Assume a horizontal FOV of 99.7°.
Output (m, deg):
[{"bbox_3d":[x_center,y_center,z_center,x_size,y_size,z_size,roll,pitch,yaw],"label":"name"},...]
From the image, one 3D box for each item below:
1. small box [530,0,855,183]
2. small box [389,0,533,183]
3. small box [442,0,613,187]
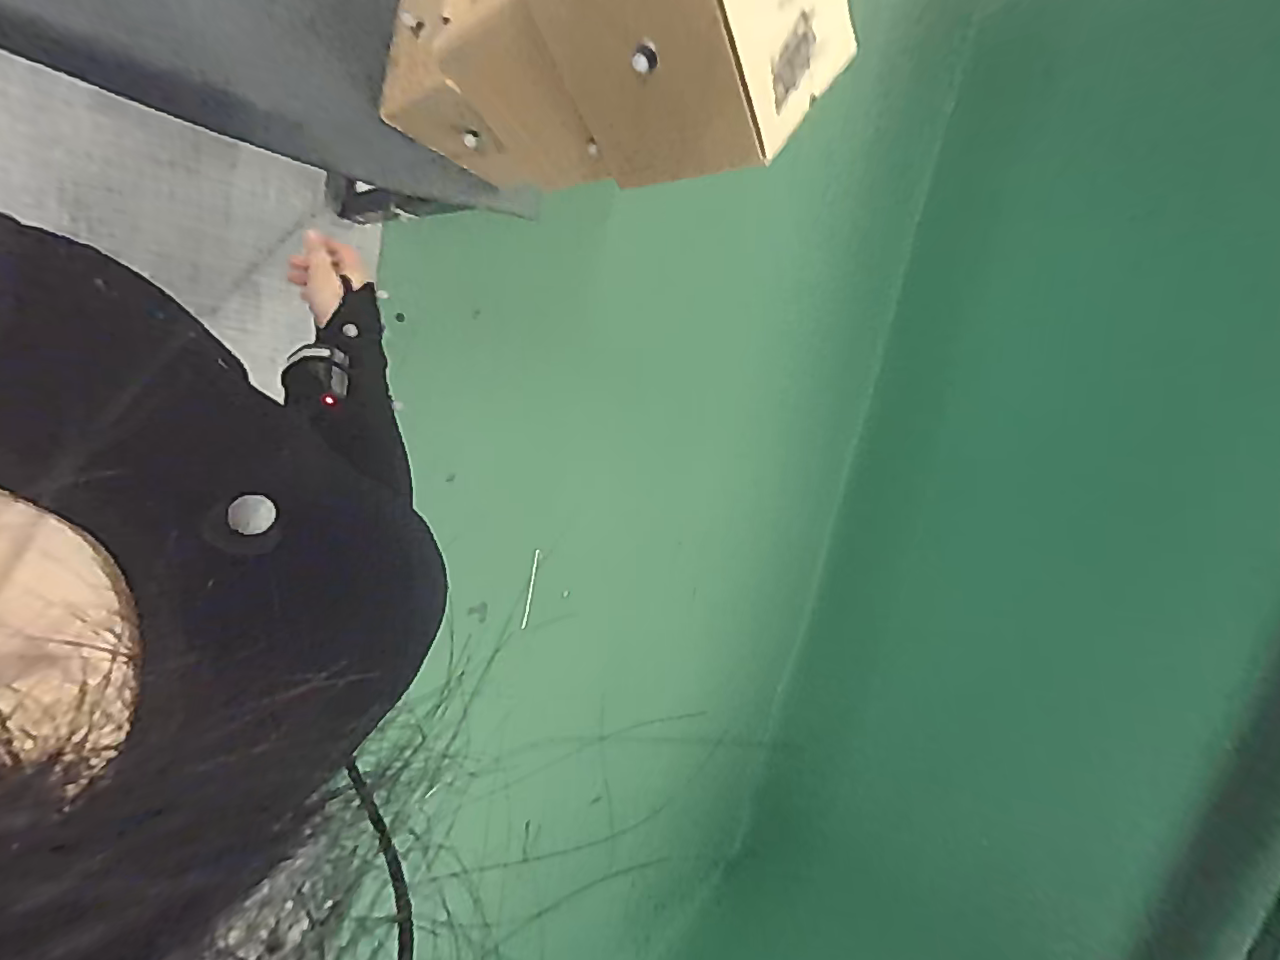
[{"bbox_3d":[0.047,-0.369,0.440,0.168,0.176,0.179,-55,135,-18],"label":"small box"},{"bbox_3d":[-0.178,-0.486,0.653,0.179,0.176,0.168,9,97,-47],"label":"small box"},{"bbox_3d":[-0.064,-0.432,0.548,0.179,0.176,0.168,40,74,-46],"label":"small box"}]
